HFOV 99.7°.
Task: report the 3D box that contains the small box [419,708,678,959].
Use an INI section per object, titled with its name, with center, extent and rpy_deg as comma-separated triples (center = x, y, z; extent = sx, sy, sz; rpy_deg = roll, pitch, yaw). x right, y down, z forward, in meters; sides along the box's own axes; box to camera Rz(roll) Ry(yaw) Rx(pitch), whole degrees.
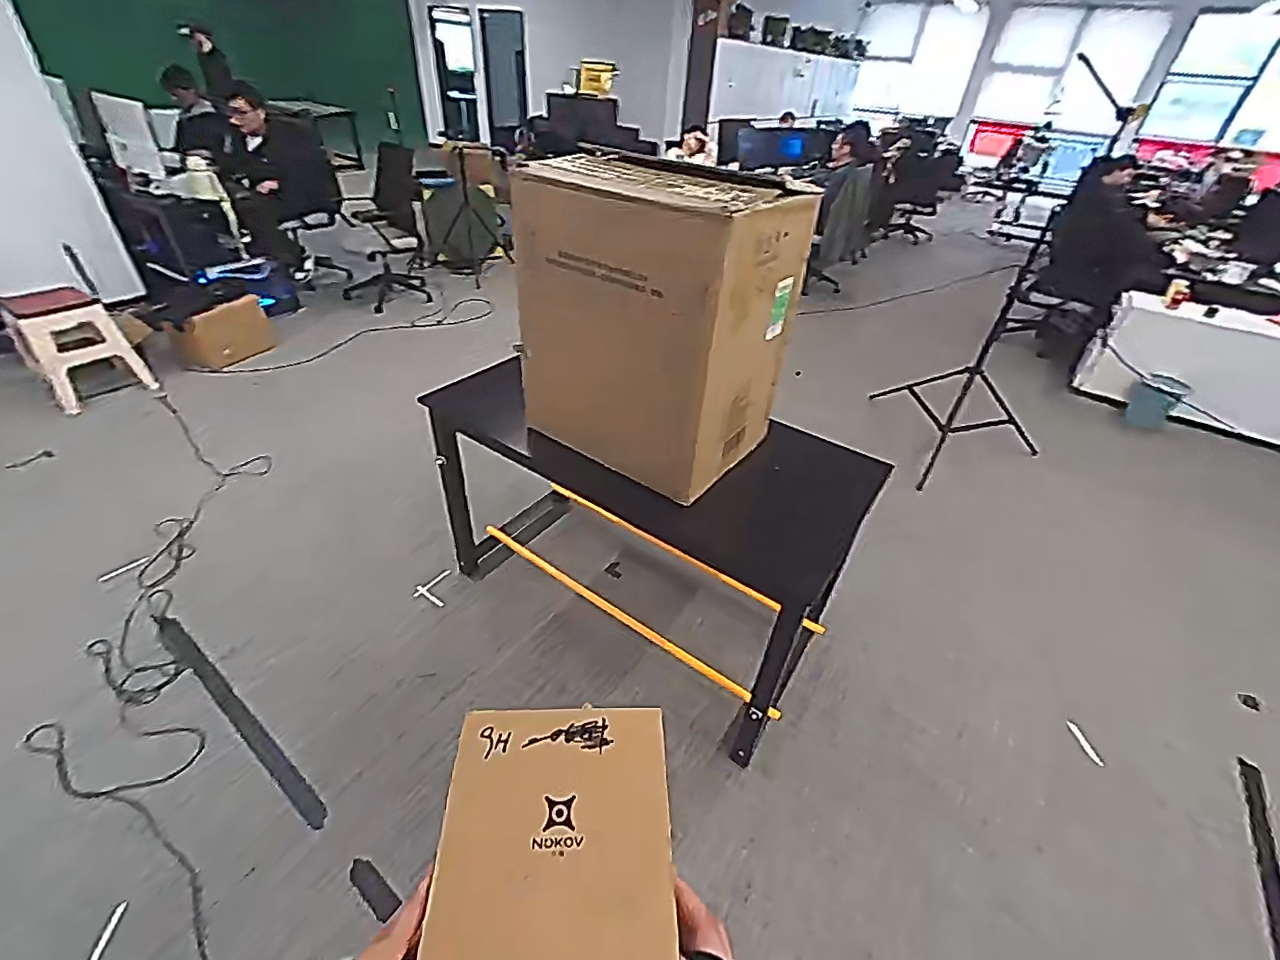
[small box]
center = -0.062, 0.309, 0.440
extent = 0.168, 0.176, 0.179
rpy_deg = 0, 44, -4
